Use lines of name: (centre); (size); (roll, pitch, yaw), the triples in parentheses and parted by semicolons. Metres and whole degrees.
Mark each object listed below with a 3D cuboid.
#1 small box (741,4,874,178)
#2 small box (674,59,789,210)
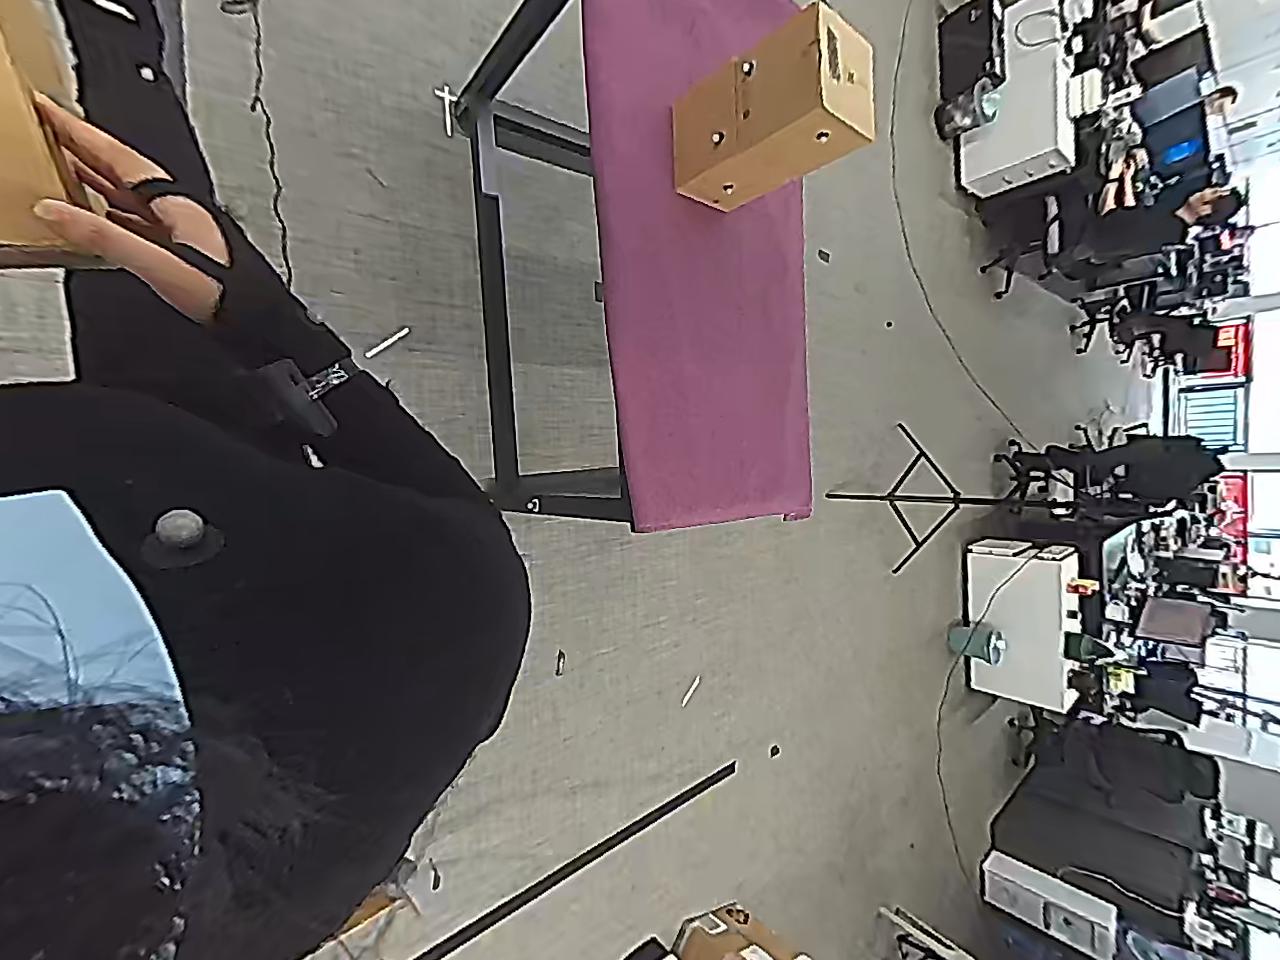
small box: (0.292, -0.670, 0.961); (0.179, 0.176, 0.168); (-6, 95, -41)
small box: (0.181, -0.672, 1.081); (0.168, 0.176, 0.179); (-4, 93, -40)
